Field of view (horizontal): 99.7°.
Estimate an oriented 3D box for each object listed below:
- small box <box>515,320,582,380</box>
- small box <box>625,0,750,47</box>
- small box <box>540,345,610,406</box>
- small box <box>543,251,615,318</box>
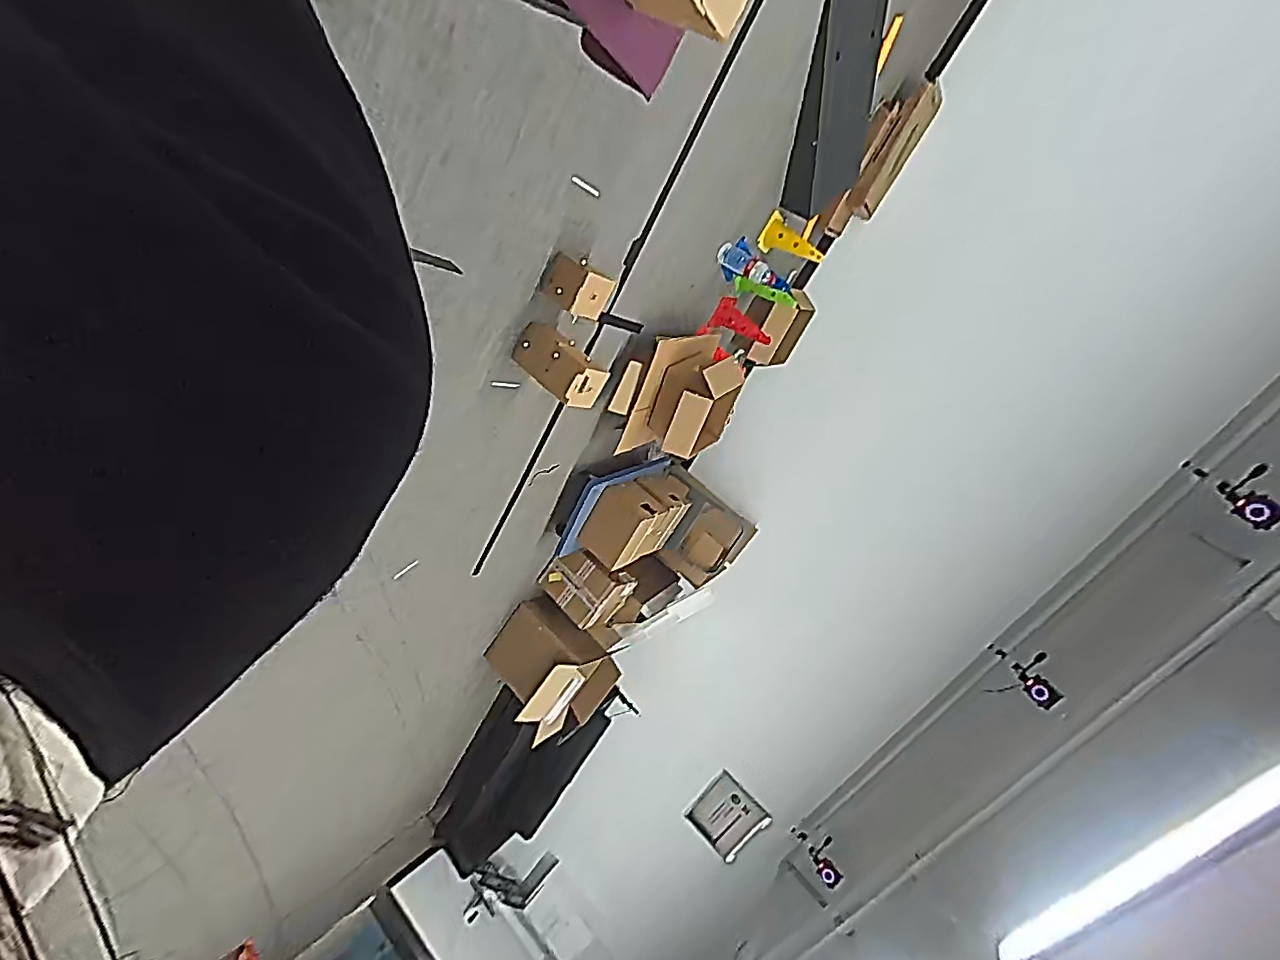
[{"bbox_3d":[-0.370,-0.507,2.154,0.179,0.176,0.168,-56,158,18],"label":"small box"},{"bbox_3d":[0.053,-0.675,0.635,0.168,0.176,0.179,-9,135,-58],"label":"small box"},{"bbox_3d":[-0.256,-0.404,2.092,0.168,0.176,0.179,-57,159,19],"label":"small box"},{"bbox_3d":[-0.235,-0.736,2.035,0.179,0.176,0.168,-14,140,-59],"label":"small box"}]
